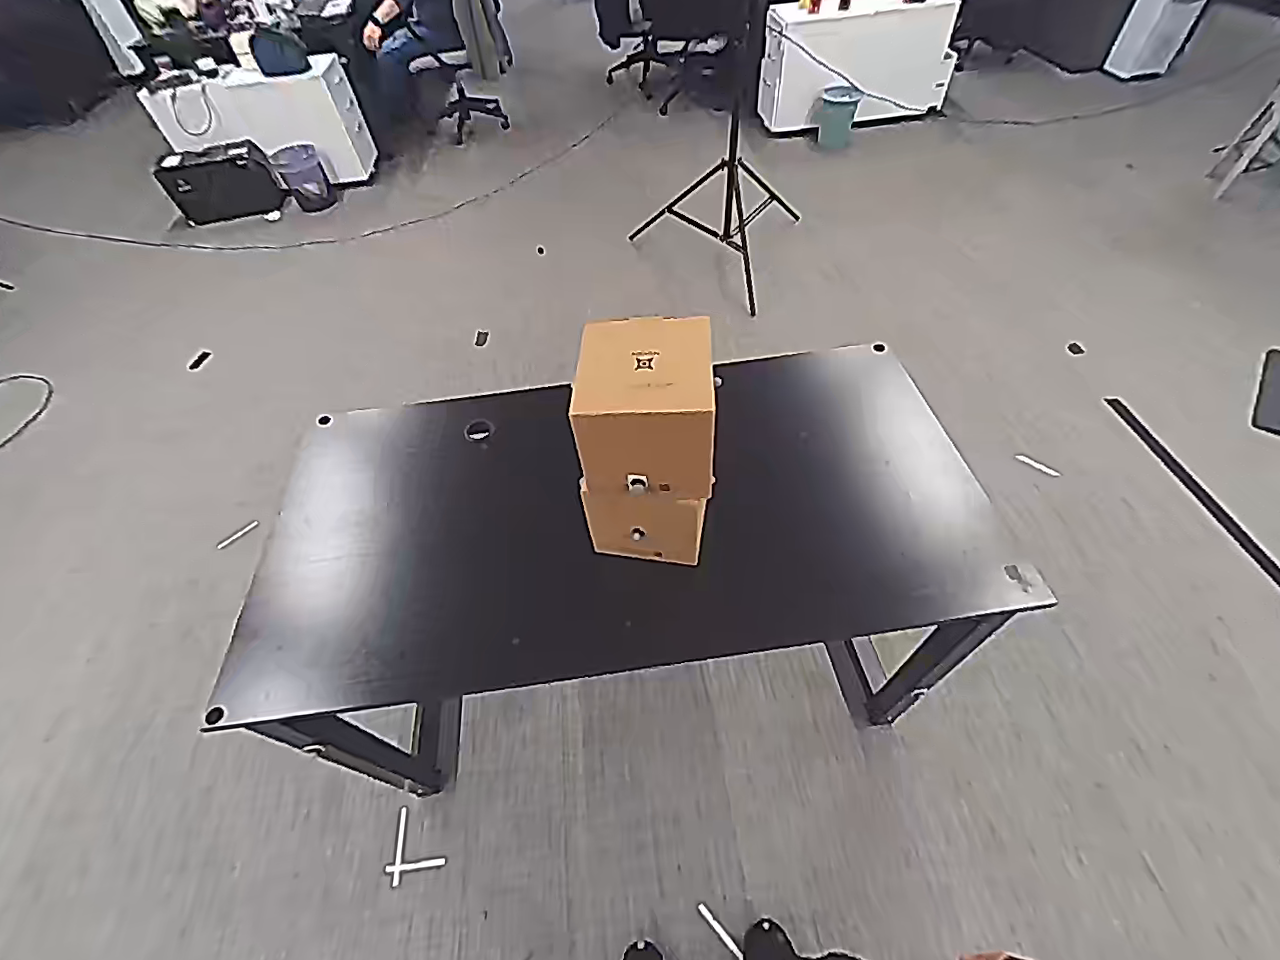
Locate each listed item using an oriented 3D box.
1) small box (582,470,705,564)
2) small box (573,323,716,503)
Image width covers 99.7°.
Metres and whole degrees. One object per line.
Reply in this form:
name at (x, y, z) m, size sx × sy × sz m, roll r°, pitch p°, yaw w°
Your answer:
small box at (0.019, 0.012, 0.852) m, size 0.168 × 0.176 × 0.179 m, roll 7°, pitch 52°, yaw 9°
small box at (0.013, -0.087, 0.723) m, size 0.168 × 0.176 × 0.179 m, roll -2°, pitch 53°, yaw 5°
